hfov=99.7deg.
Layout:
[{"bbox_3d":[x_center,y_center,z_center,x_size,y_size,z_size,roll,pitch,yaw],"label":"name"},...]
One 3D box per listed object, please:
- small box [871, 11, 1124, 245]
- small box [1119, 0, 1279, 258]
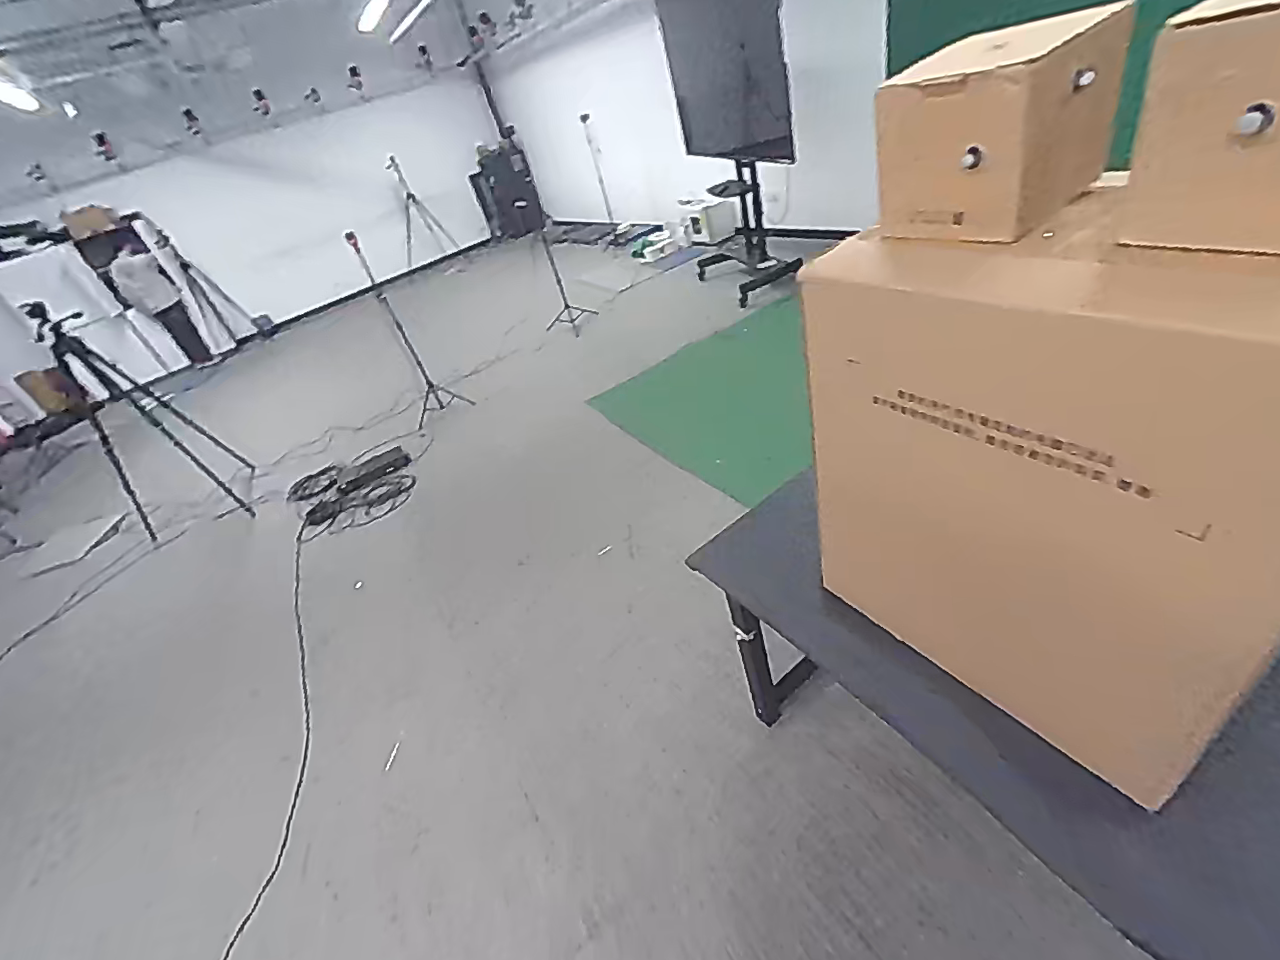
[{"bbox_3d":[0.393,-0.386,0.617,0.179,0.176,0.168,-34,39,-17],"label":"small box"},{"bbox_3d":[0.527,-0.288,0.421,0.168,0.176,0.179,-34,37,-15],"label":"small box"}]
